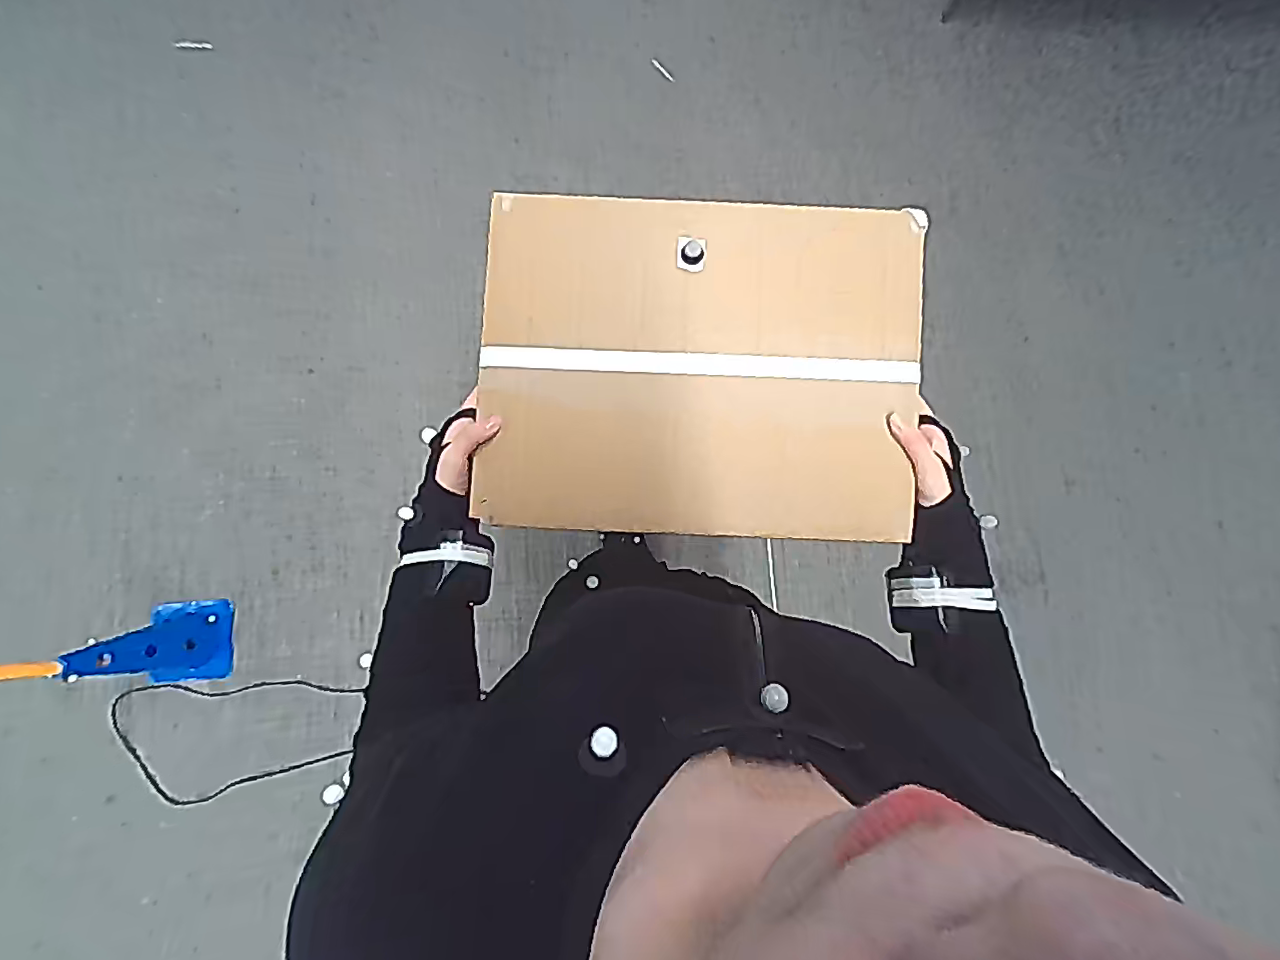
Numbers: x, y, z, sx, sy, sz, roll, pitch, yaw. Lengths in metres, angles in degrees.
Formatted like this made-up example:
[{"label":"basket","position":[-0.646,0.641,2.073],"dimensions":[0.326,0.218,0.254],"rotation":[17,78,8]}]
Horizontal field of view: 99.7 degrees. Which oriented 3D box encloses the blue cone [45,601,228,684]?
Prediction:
[{"label":"blue cone","position":[-1.131,0.384,1.202],"dimensions":[0.192,0.380,0.193],"rotation":[-5,81,-5]}]
